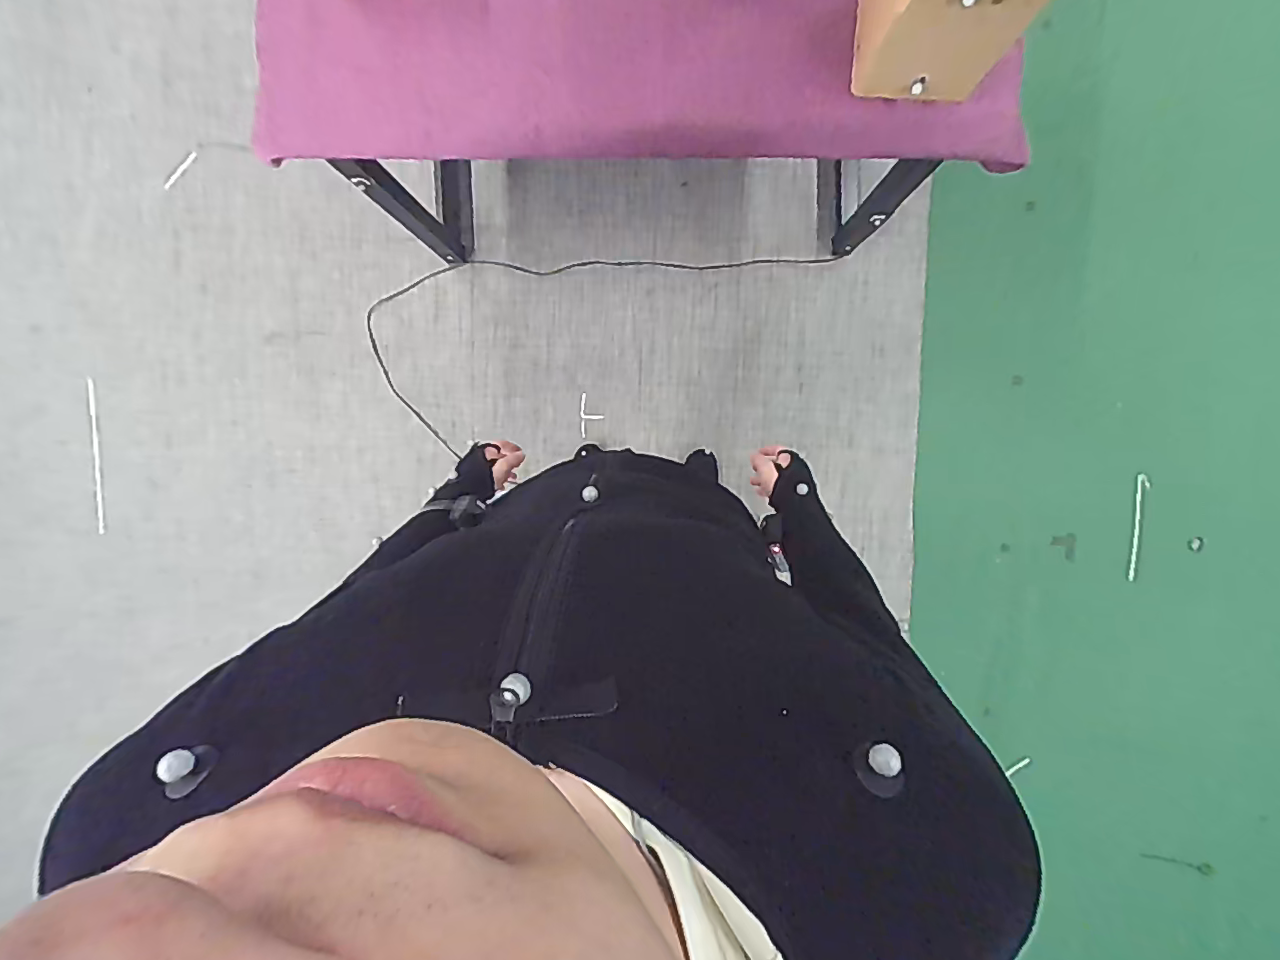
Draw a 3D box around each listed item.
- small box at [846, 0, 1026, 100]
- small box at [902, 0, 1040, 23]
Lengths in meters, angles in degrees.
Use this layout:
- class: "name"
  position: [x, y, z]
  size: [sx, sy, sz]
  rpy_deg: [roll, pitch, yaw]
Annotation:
- class: "small box"
  position: [0.415, -0.676, 0.767]
  size: [0.179, 0.176, 0.168]
  rpy_deg: [4, 93, 2]
- class: "small box"
  position: [0.411, -0.670, 0.604]
  size: [0.168, 0.176, 0.179]
  rpy_deg: [4, 93, 3]
